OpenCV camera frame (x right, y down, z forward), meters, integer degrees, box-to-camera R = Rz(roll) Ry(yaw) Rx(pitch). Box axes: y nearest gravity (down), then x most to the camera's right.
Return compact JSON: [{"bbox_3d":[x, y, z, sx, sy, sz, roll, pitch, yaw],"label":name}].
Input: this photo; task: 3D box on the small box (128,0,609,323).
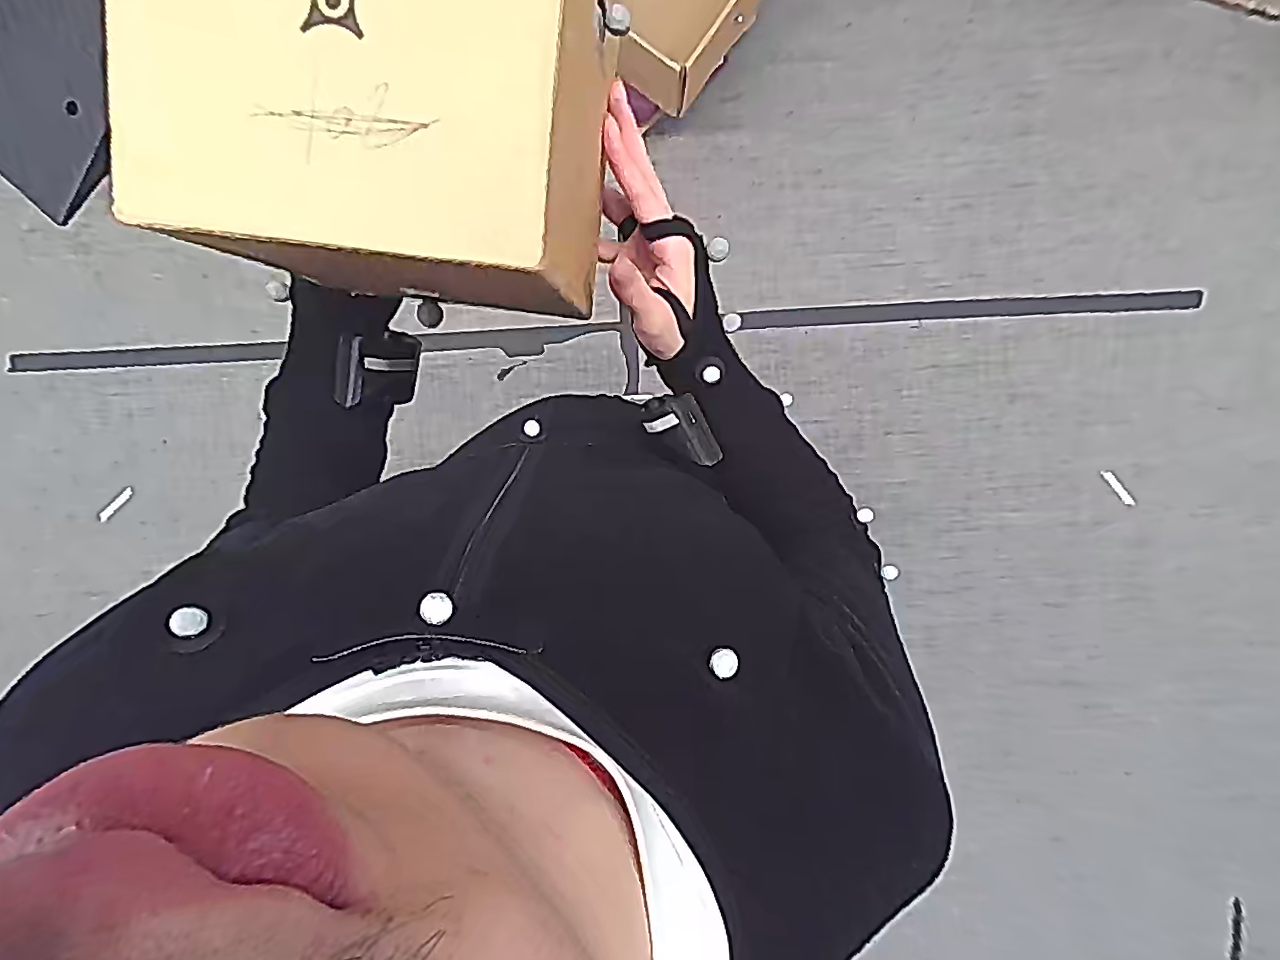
[{"bbox_3d":[-0.108,-0.191,0.283,0.168,0.176,0.179,6,99,0],"label":"small box"}]
